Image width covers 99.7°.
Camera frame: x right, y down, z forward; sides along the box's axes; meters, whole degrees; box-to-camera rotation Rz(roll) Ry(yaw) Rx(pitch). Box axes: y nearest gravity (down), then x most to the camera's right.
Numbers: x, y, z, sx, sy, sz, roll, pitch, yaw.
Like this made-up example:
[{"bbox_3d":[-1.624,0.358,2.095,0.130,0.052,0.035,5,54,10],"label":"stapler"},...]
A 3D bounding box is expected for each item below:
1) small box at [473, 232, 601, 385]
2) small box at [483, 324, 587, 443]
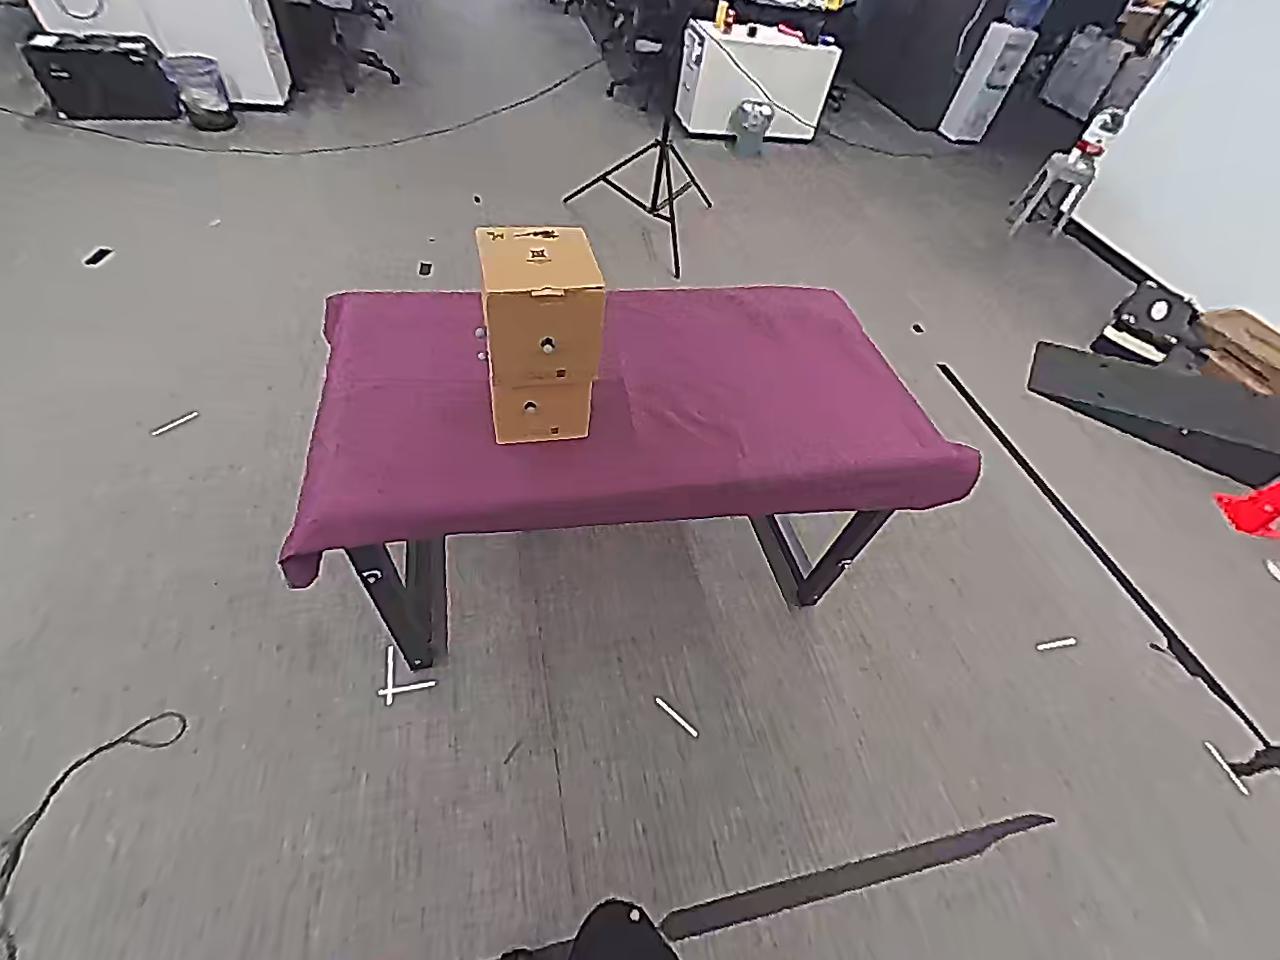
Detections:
[{"bbox_3d":[-0.161,-0.262,0.843,0.168,0.176,0.179,-7,54,-15],"label":"small box"},{"bbox_3d":[-0.189,-0.180,0.985,0.168,0.176,0.179,-6,53,-14],"label":"small box"}]
